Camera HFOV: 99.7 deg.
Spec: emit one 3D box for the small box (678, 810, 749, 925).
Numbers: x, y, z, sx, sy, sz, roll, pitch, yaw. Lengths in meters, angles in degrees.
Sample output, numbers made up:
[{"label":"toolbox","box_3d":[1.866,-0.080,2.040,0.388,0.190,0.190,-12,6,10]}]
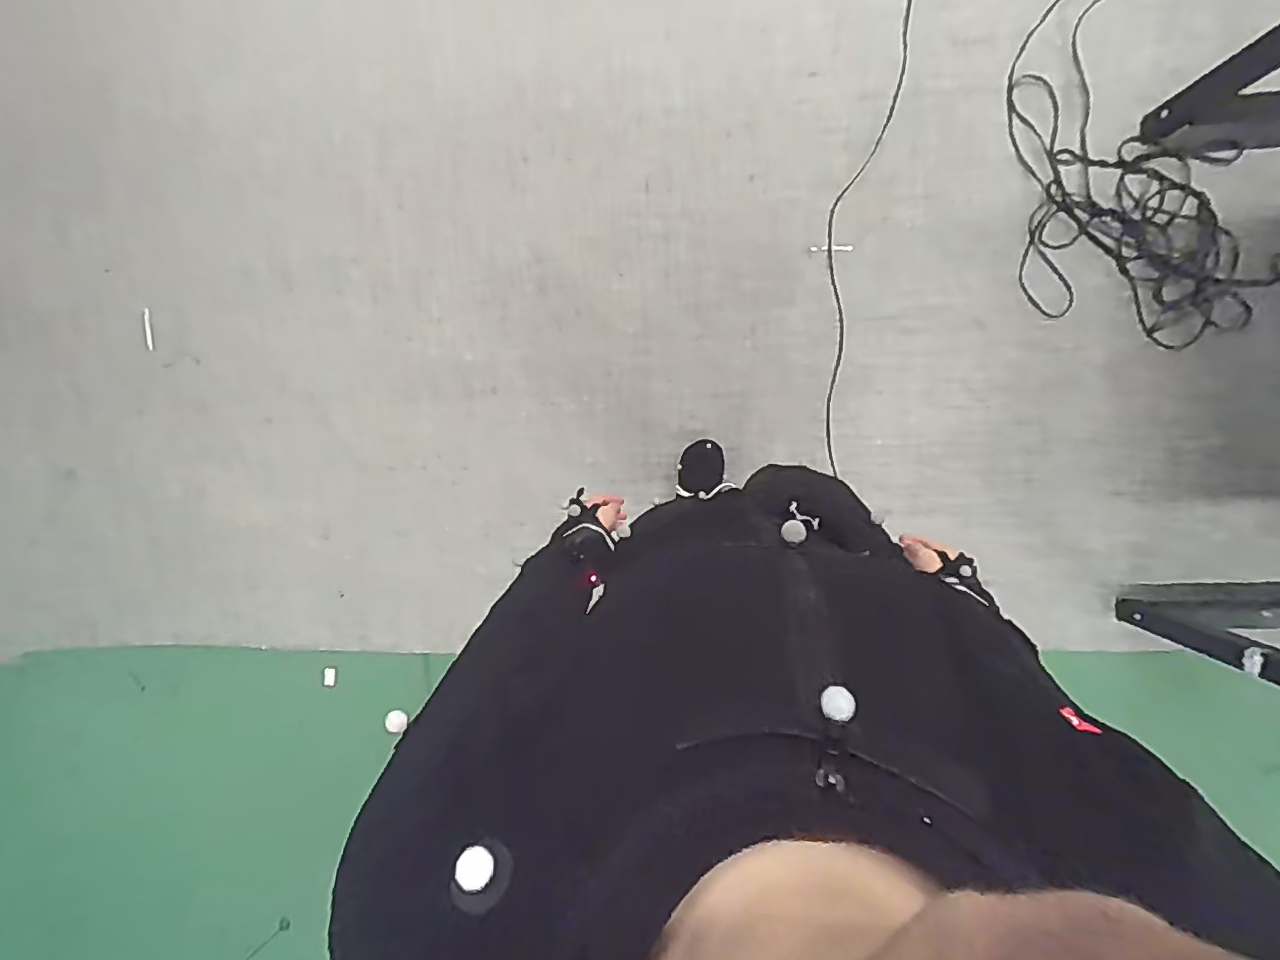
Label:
[{"label":"small box","box_3d":[0.182,0.972,1.363,0.168,0.176,0.179,-3,94,3]}]
